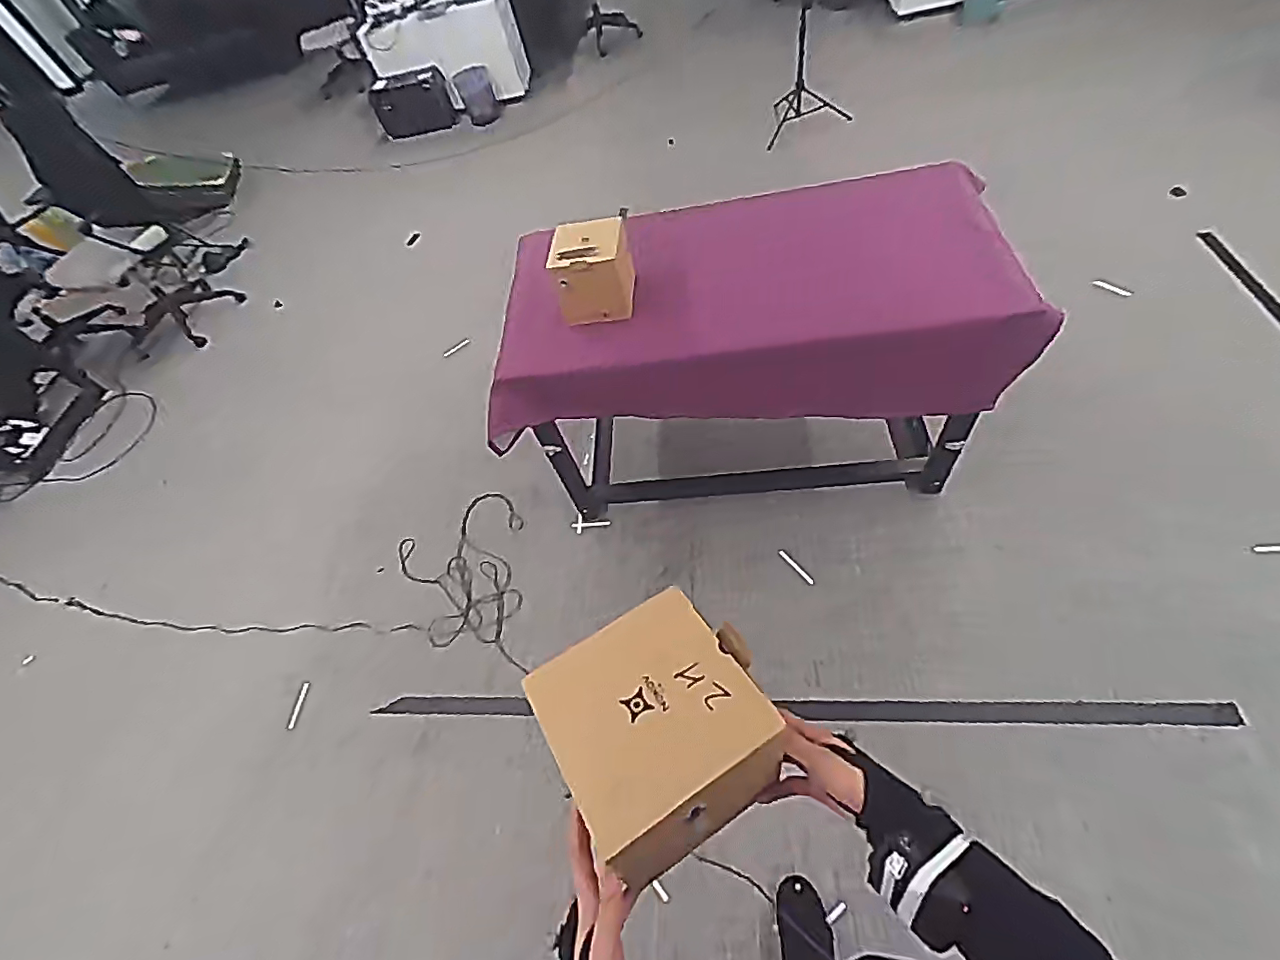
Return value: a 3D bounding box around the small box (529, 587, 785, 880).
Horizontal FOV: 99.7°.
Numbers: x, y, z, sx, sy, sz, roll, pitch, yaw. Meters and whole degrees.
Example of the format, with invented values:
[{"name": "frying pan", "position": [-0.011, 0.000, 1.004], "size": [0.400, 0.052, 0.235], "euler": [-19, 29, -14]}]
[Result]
[{"name": "small box", "position": [0.020, 0.246, 0.526], "size": [0.179, 0.176, 0.168], "euler": [-28, 48, -16]}]
